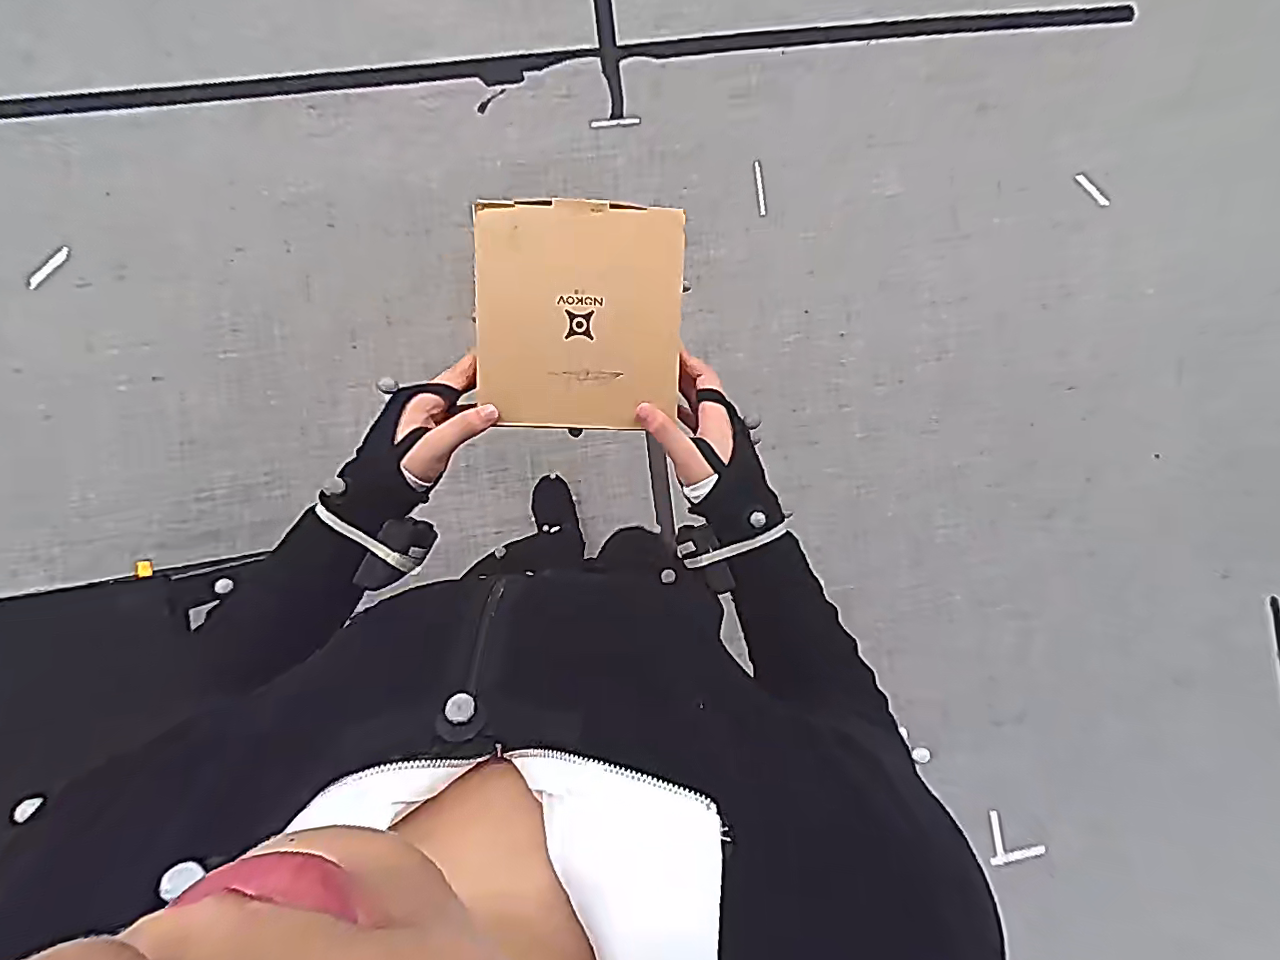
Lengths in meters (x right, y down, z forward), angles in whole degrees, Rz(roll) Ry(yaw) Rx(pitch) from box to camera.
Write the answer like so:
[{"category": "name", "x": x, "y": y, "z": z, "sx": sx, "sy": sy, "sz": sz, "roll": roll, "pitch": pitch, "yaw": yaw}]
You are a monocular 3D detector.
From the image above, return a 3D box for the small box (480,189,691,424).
[{"category": "small box", "x": -0.048, "y": -0.149, "z": 0.511, "sx": 0.168, "sy": 0.176, "sz": 0.179, "roll": 2, "pitch": 100, "yaw": -2}]
